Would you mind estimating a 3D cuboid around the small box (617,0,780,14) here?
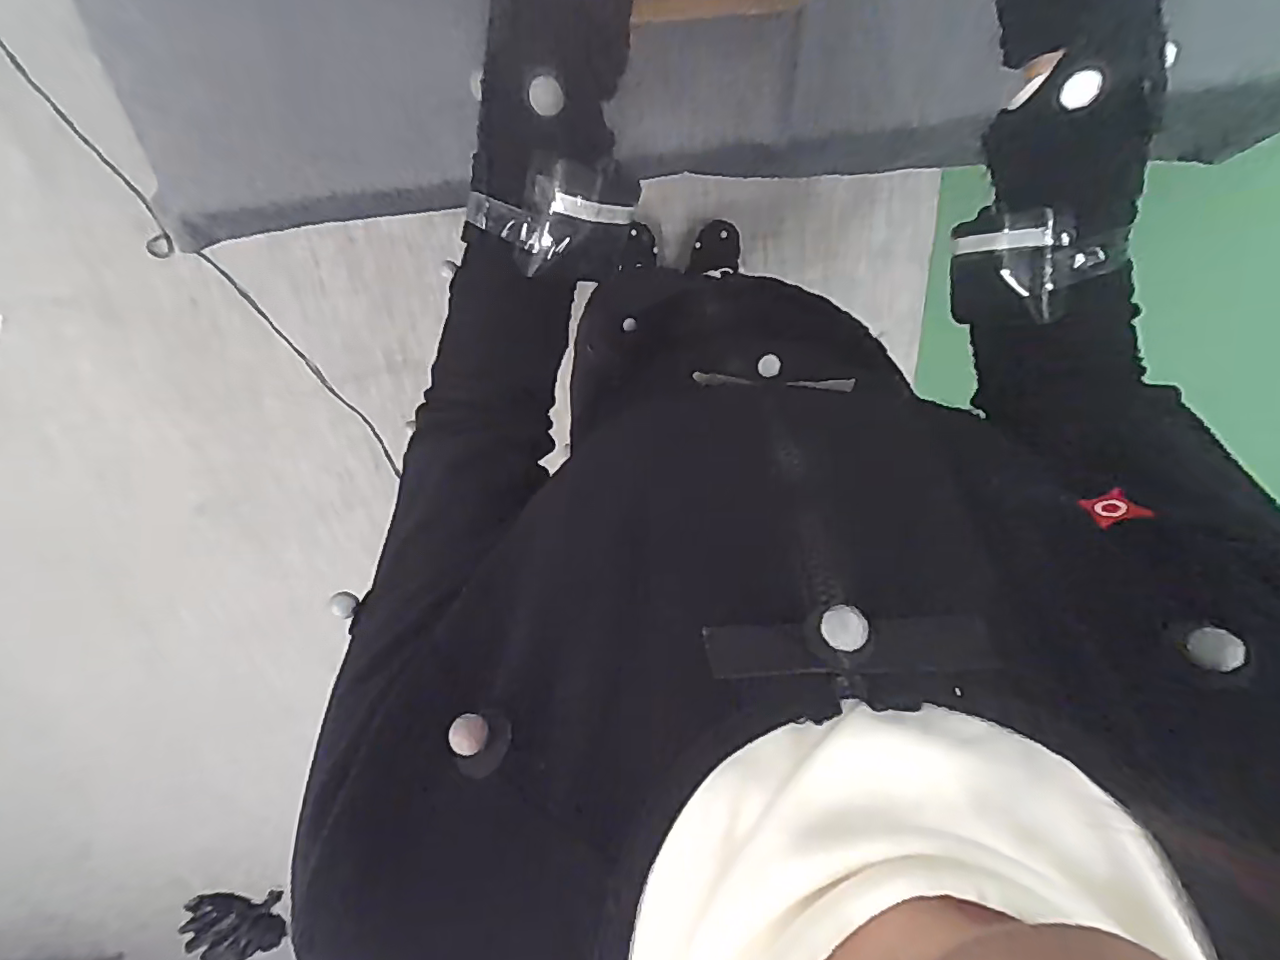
[{"bbox_3d":[0.060,-0.468,0.389,0.179,0.176,0.168,-6,118,0],"label":"small box"}]
